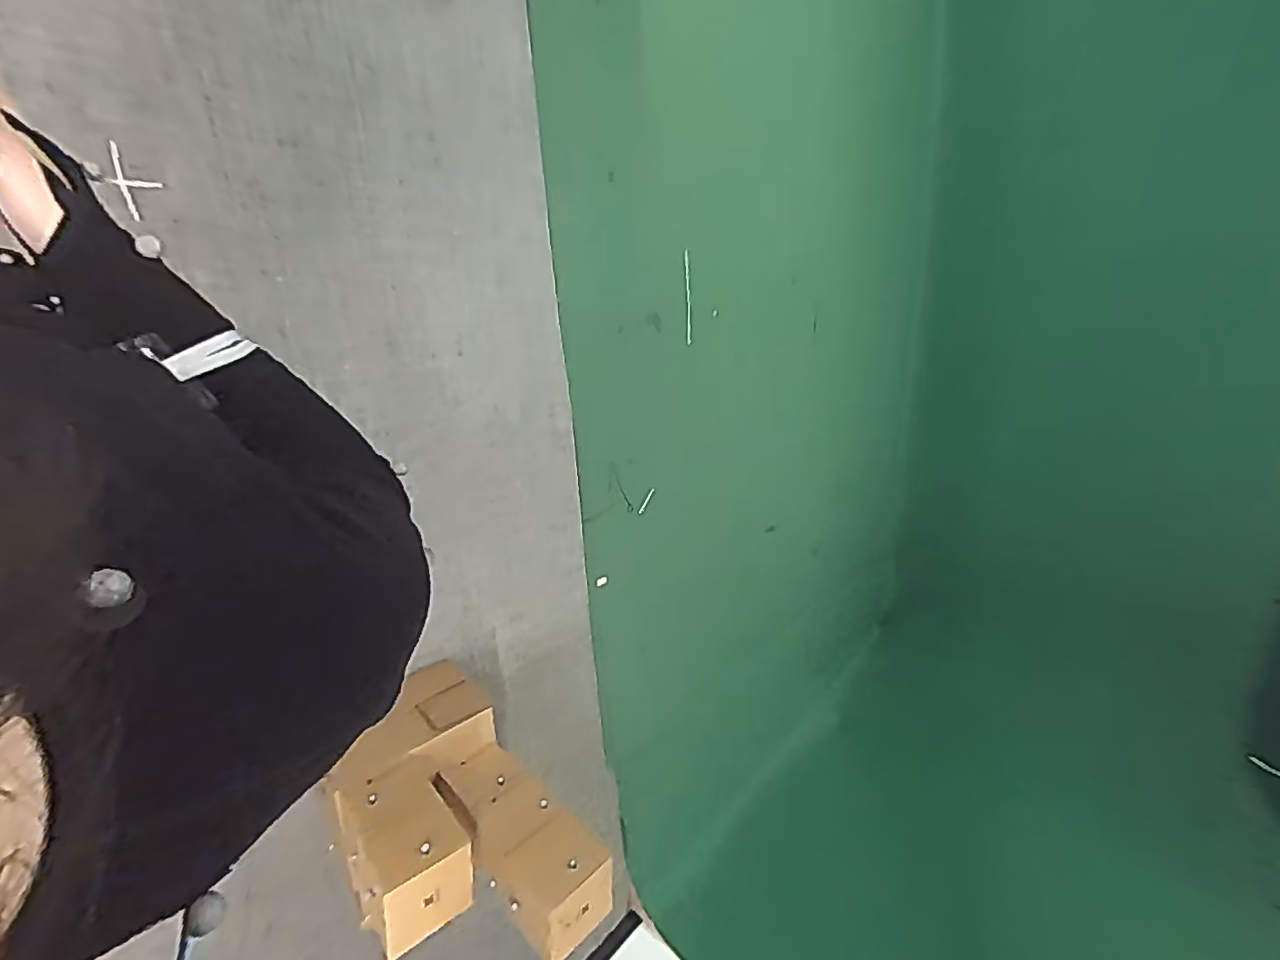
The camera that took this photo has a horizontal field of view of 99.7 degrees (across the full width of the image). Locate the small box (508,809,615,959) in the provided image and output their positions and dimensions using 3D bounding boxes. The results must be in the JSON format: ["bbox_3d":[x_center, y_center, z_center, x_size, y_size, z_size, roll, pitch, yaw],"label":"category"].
[{"bbox_3d":[-0.175,0.892,1.211,0.179,0.176,0.168,-16,113,-43],"label":"small box"}]

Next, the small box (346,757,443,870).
[{"bbox_3d":[-0.568,0.782,1.259,0.168,0.176,0.179,-11,111,-41],"label":"small box"}]

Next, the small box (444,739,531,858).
[{"bbox_3d":[-0.407,0.837,1.440,0.168,0.176,0.179,-13,112,-44],"label":"small box"}]

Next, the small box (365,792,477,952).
[{"bbox_3d":[-0.464,0.809,1.137,0.179,0.176,0.168,-11,109,-42],"label":"small box"}]
